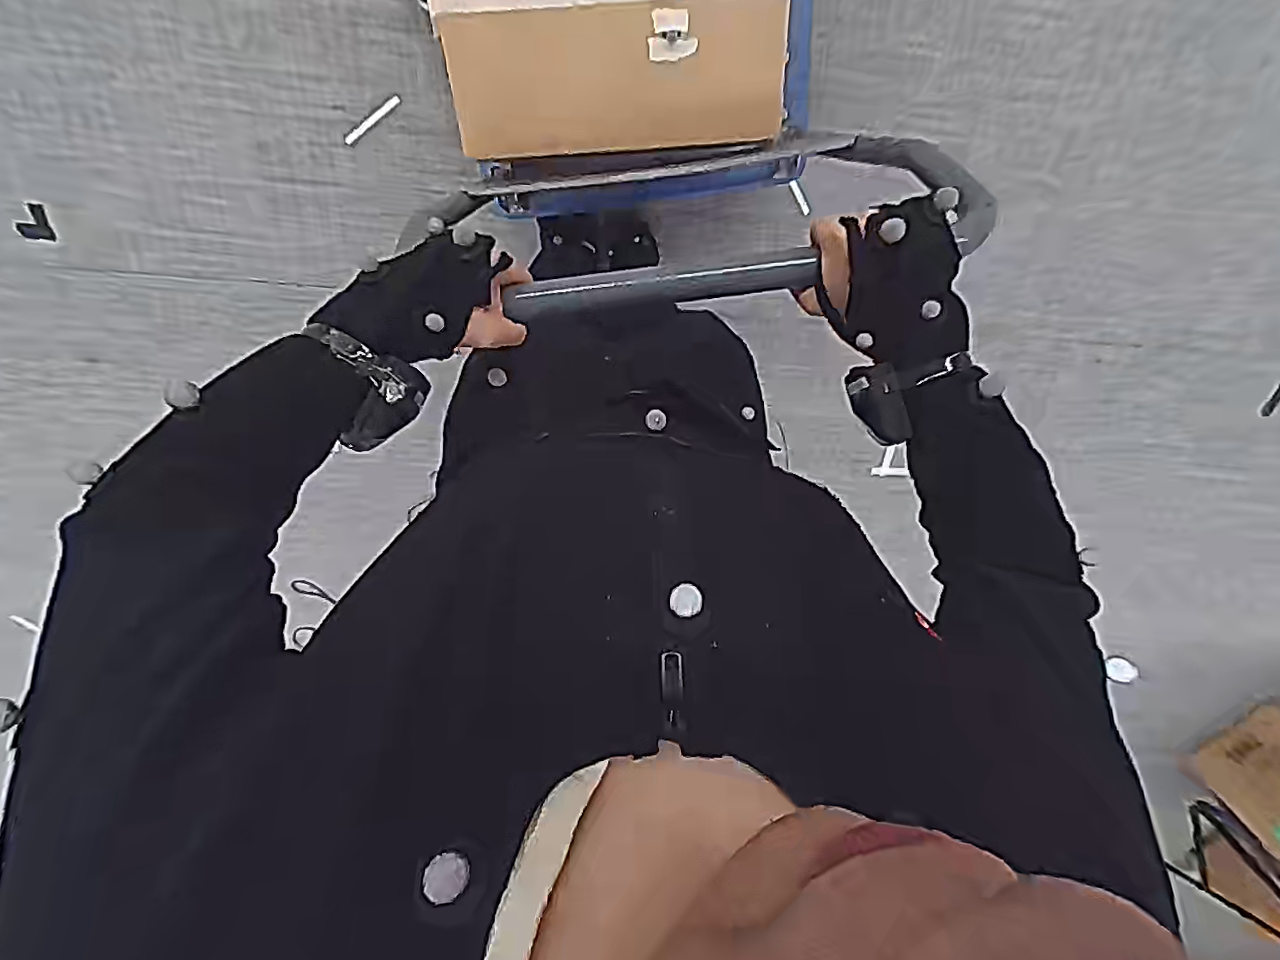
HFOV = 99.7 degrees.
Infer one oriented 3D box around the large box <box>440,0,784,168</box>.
[{"bbox_3d":[-0.041,-0.627,0.746,0.408,0.320,0.320,-5,120,-1],"label":"large box"}]
